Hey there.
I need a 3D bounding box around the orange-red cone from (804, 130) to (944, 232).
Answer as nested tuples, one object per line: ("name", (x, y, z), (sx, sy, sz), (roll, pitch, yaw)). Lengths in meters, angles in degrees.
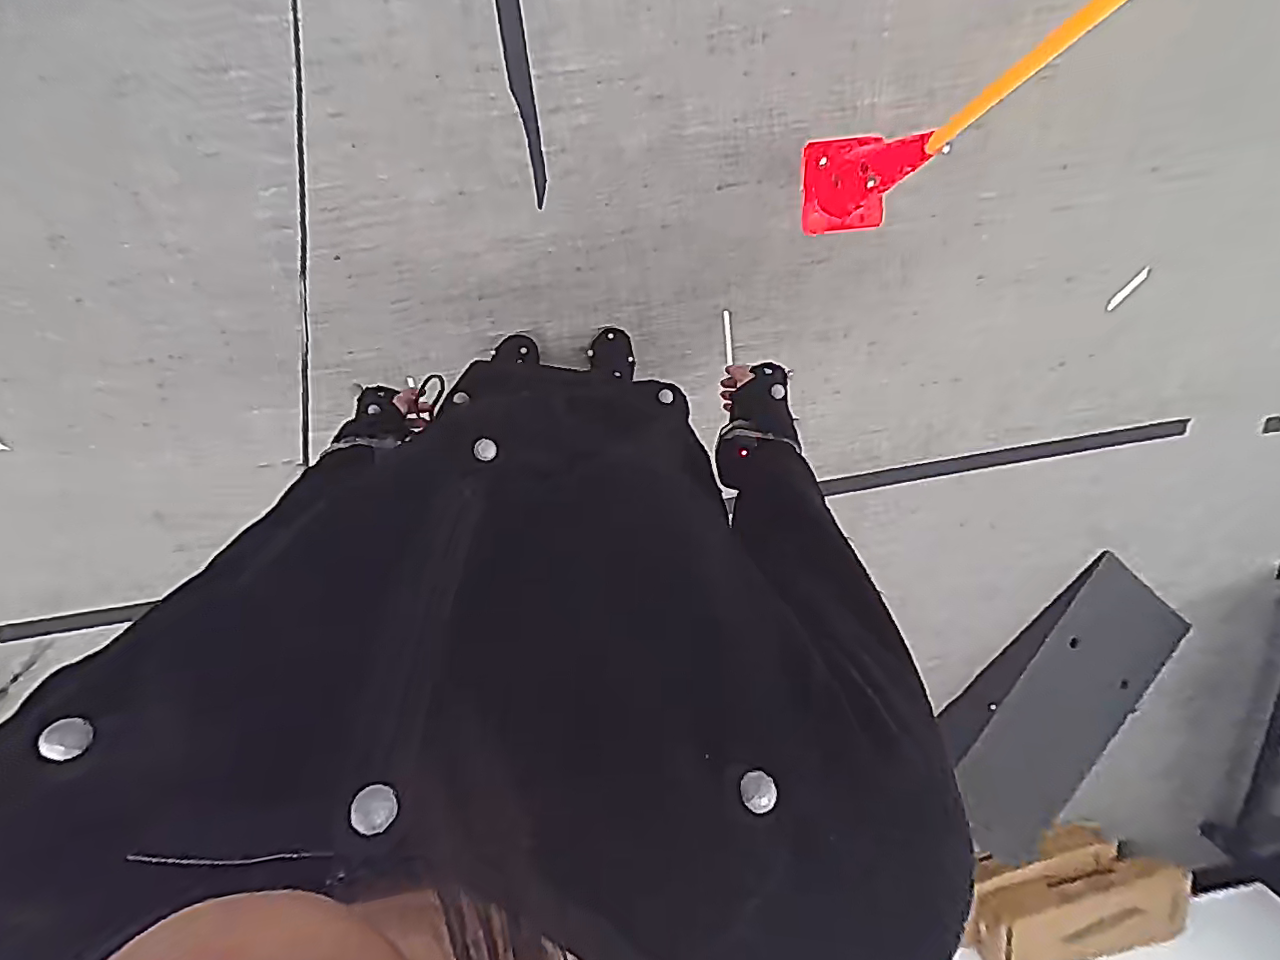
("orange-red cone", (0.500, -0.642, 1.111), (0.198, 0.360, 0.199), (-5, 108, -4))
